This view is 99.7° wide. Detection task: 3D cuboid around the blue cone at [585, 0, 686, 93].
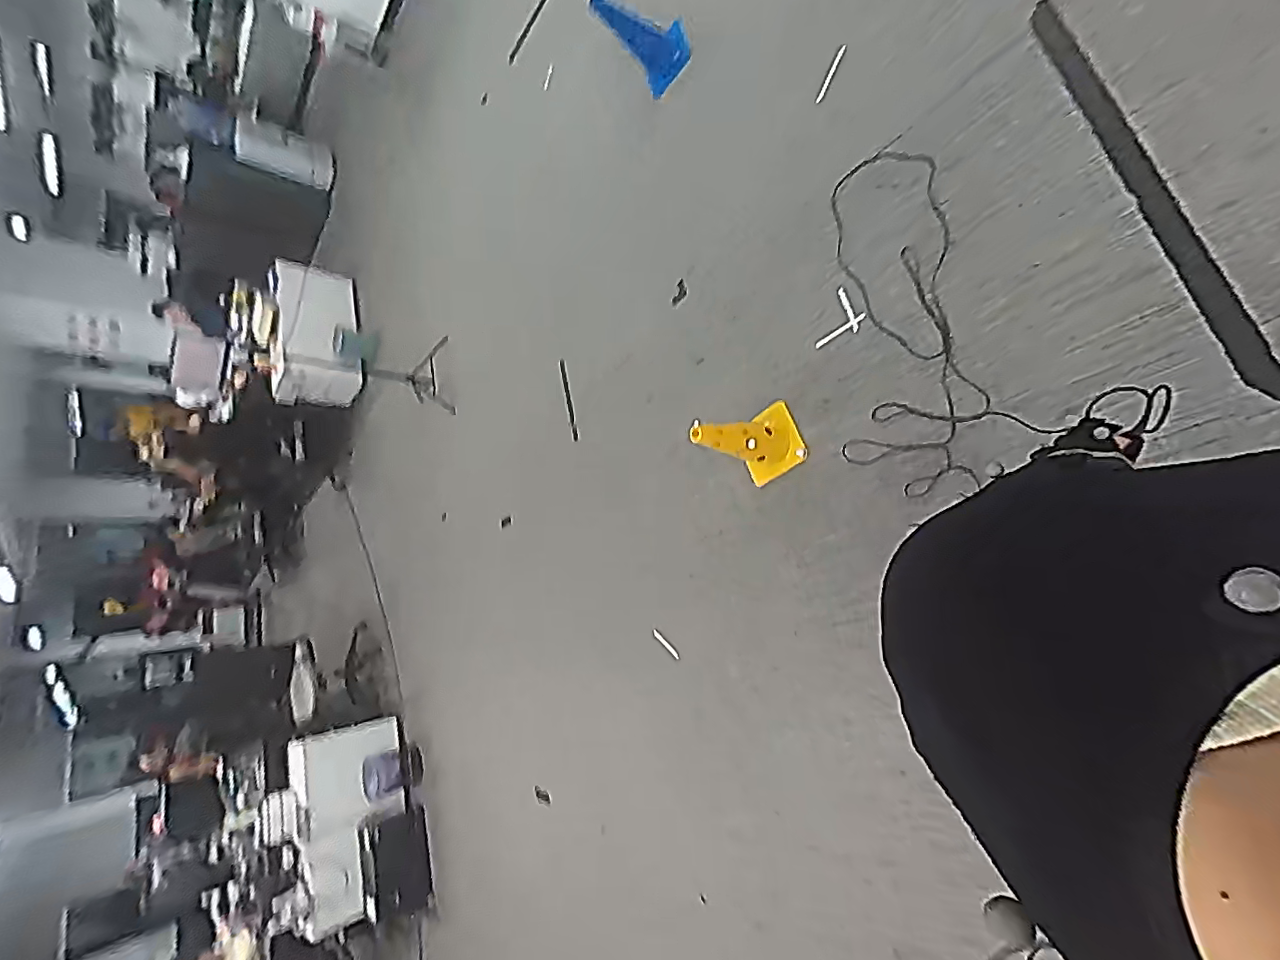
[{"bbox_3d":[-0.028,-1.580,1.905,0.192,0.380,0.193,-28,68,44],"label":"blue cone"}]
